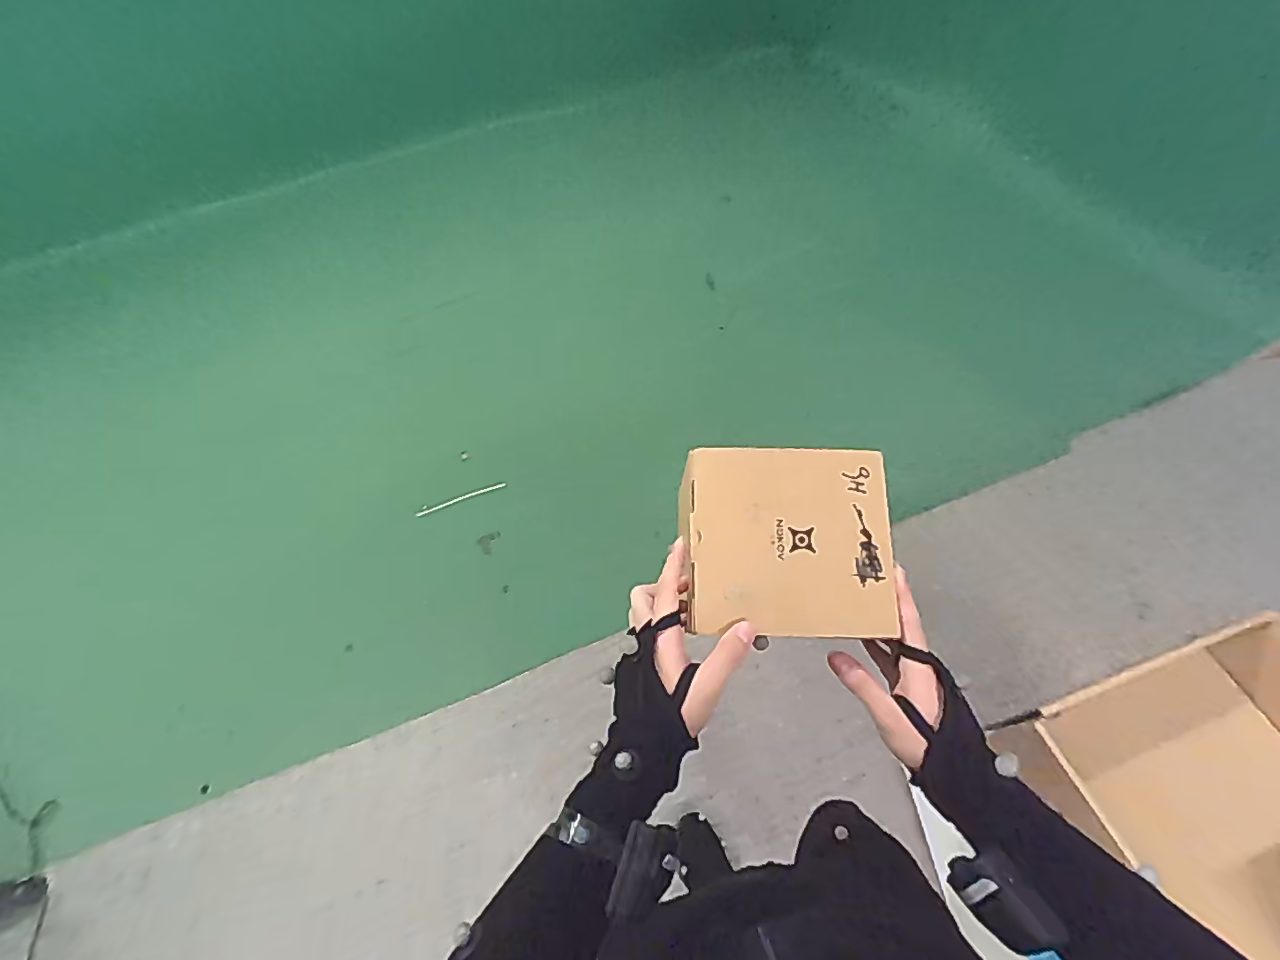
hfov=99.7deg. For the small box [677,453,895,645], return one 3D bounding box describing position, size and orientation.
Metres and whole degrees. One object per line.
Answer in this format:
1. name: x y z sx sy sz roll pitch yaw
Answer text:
1. small box: 0.127 0.077 0.544 0.179 0.176 0.168 1 75 1
